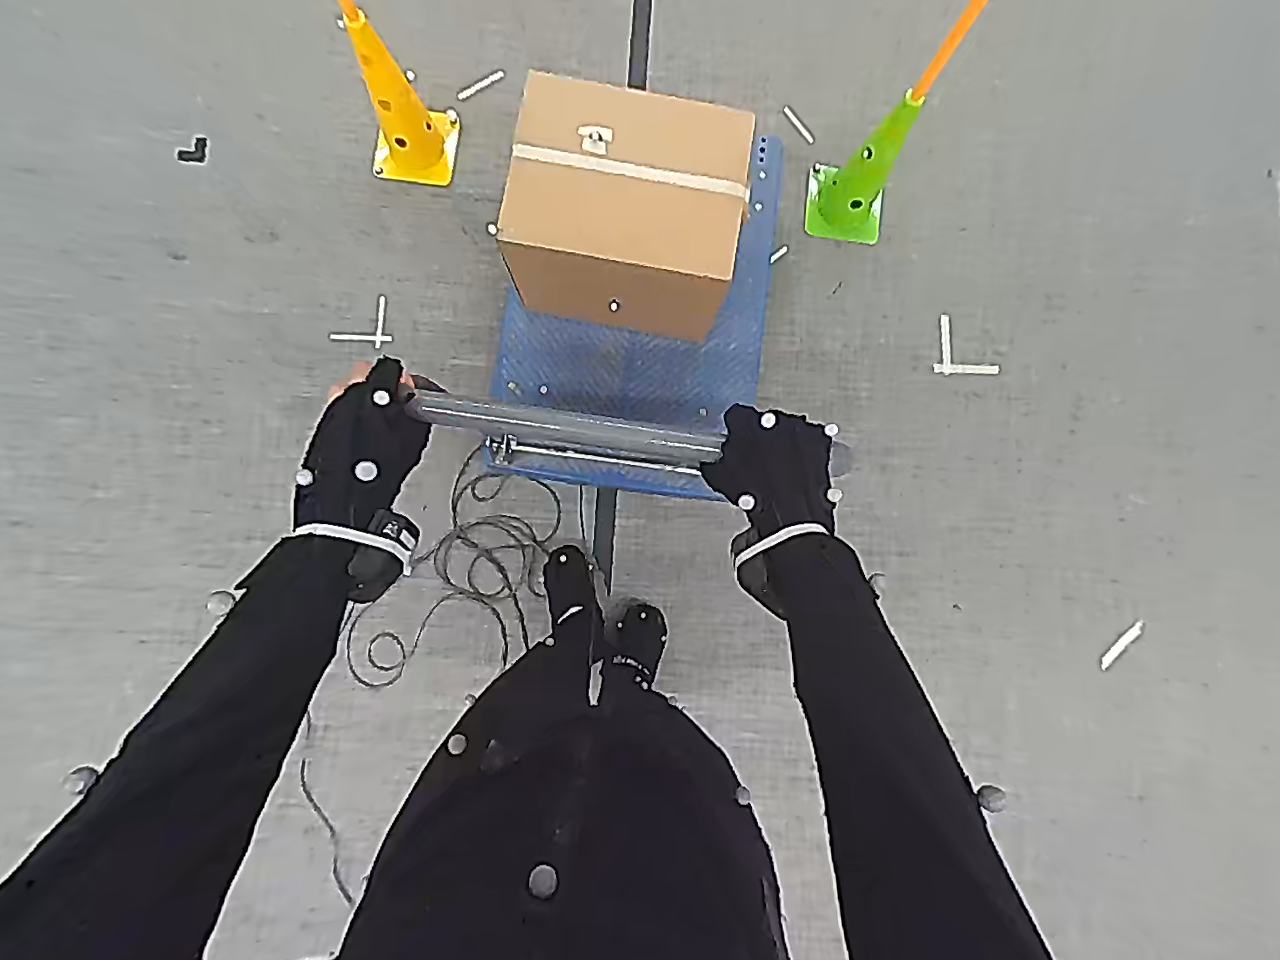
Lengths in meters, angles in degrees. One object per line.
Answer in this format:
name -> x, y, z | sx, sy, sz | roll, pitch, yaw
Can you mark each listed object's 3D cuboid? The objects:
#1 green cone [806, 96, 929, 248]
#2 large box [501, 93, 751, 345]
green cone -> 0.557, -0.746, 1.282 | 0.202, 0.368, 0.200 | 8, 84, -2
large box -> -0.022, -0.493, 1.090 | 0.408, 0.320, 0.320 | 10, 84, 0
